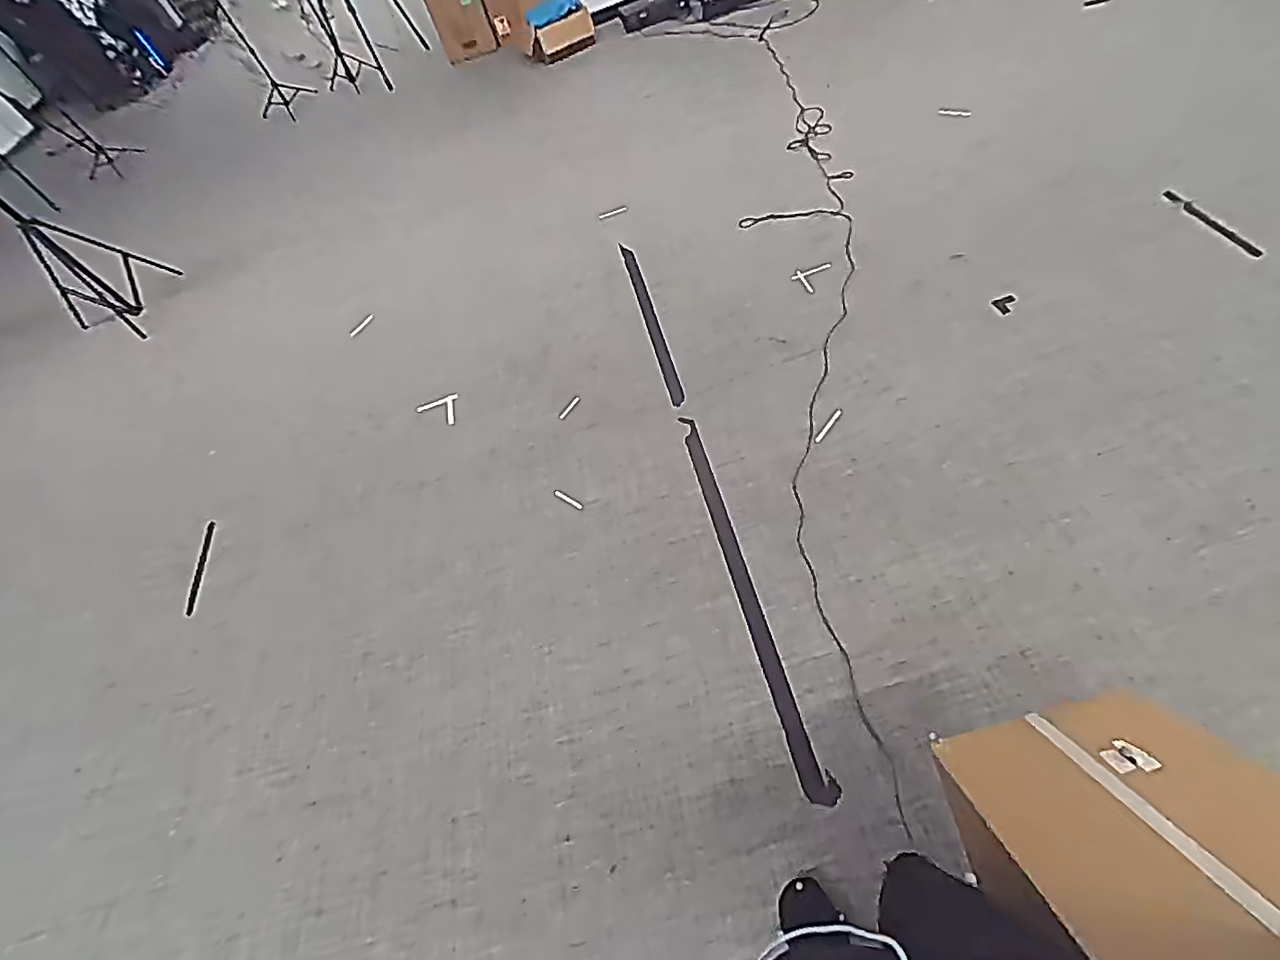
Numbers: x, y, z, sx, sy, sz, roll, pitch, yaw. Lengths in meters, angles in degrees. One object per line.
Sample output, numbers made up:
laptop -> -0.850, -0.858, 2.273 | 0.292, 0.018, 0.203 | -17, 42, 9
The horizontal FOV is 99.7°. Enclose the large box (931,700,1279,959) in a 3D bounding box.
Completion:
large box -> 0.638, 0.542, 0.652 | 0.320, 0.408, 0.320 | -18, 93, 6
